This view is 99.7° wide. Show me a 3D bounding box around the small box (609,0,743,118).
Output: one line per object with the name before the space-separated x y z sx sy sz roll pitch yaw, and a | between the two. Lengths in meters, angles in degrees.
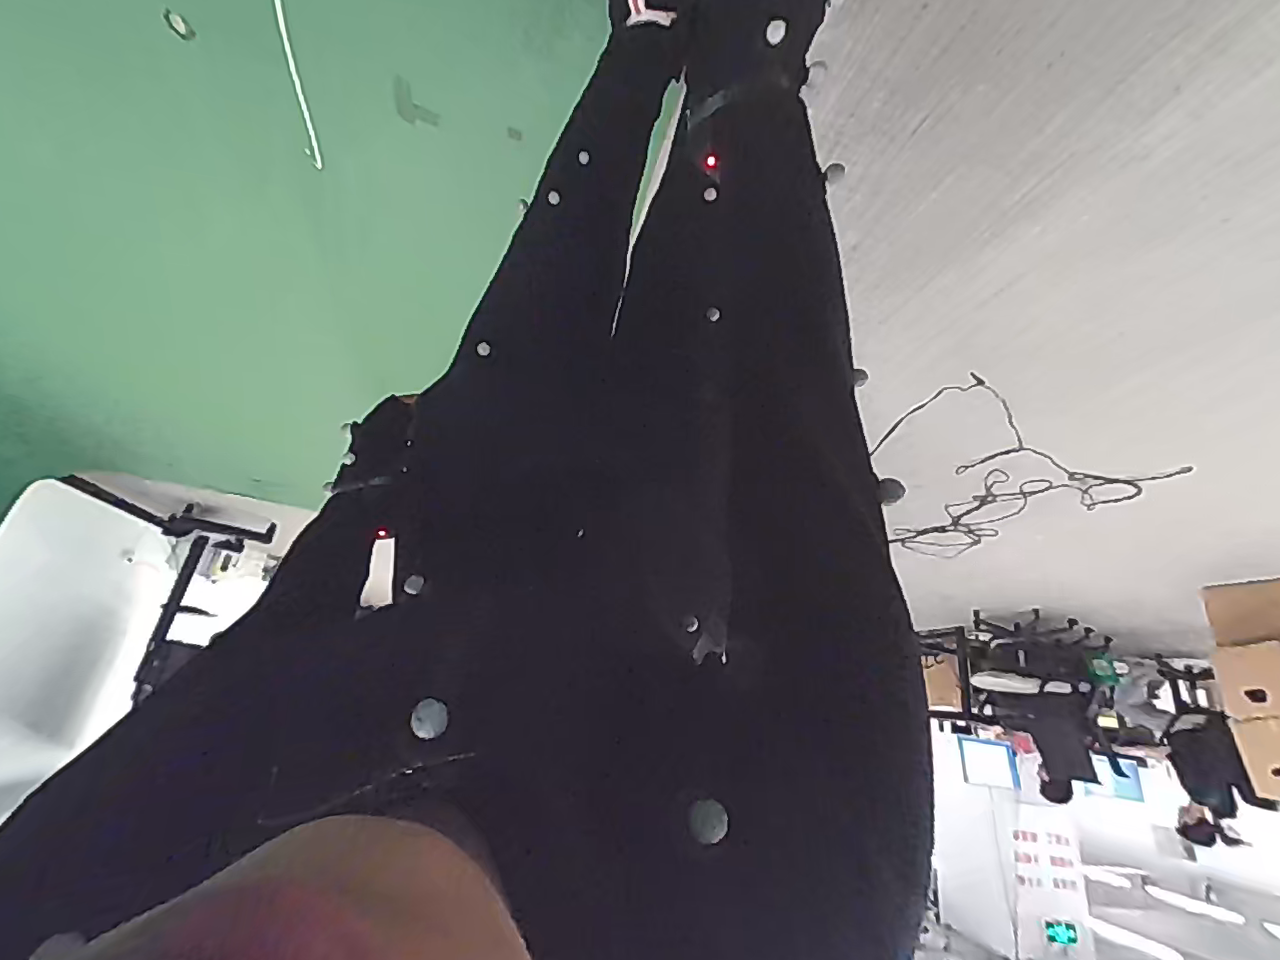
small box | 0.041 -0.654 0.757 0.168 0.176 0.179 0 161 -4
